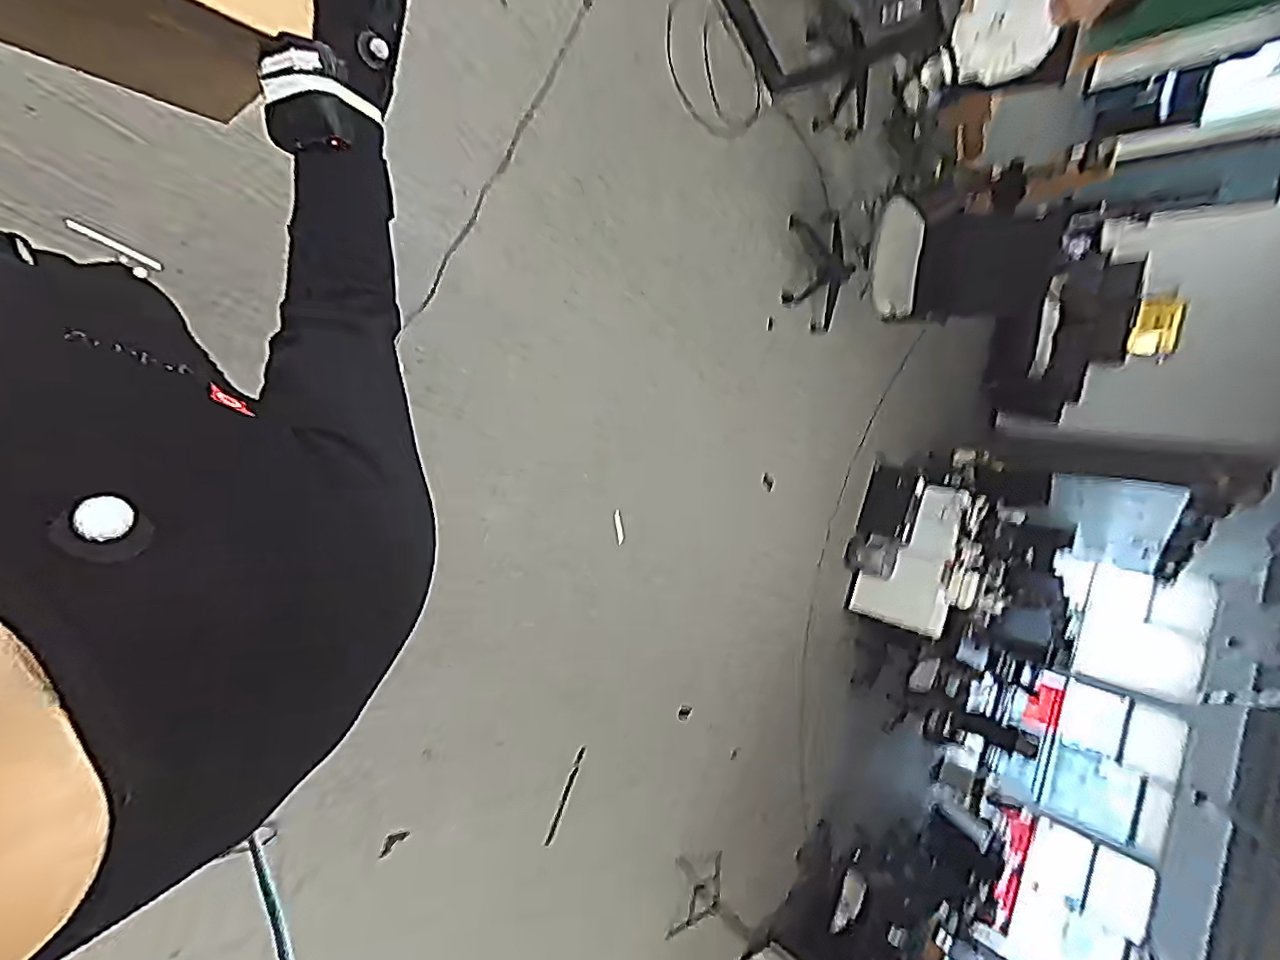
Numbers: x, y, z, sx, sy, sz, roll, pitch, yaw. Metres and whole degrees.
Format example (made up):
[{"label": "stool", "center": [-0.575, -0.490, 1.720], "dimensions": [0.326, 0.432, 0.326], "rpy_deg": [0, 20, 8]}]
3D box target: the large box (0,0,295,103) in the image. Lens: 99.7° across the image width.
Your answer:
[{"label": "large box", "center": [-0.478, -0.505, 0.322], "dimensions": [0.408, 0.320, 0.320], "rpy_deg": [-4, 110, -47]}]
